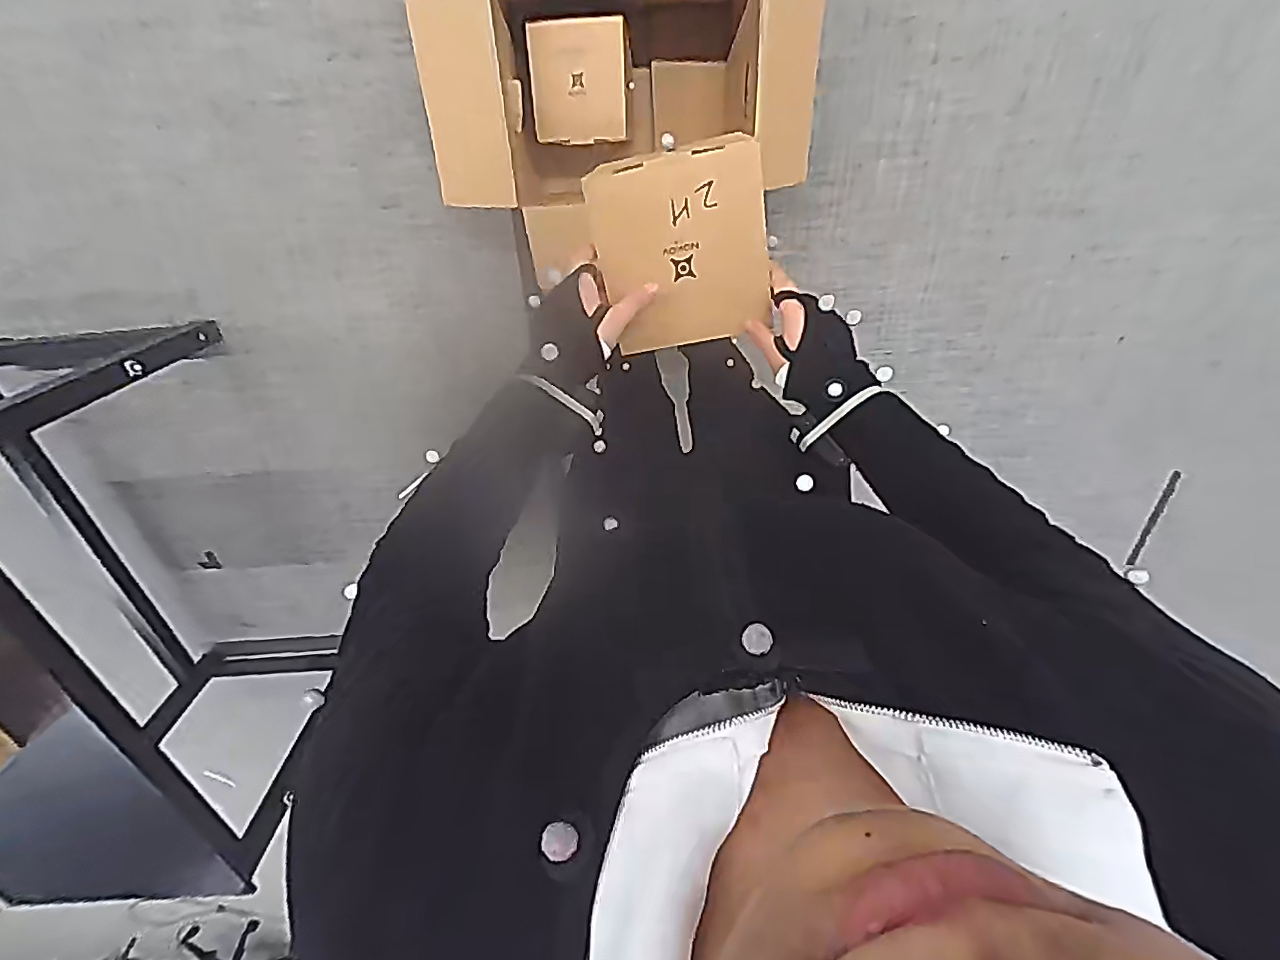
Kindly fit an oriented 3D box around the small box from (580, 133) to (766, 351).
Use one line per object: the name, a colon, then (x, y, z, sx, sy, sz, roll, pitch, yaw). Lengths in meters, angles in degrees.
small box: (0.044, -0.266, 0.600, 0.168, 0.176, 0.179, -8, 123, 9)
